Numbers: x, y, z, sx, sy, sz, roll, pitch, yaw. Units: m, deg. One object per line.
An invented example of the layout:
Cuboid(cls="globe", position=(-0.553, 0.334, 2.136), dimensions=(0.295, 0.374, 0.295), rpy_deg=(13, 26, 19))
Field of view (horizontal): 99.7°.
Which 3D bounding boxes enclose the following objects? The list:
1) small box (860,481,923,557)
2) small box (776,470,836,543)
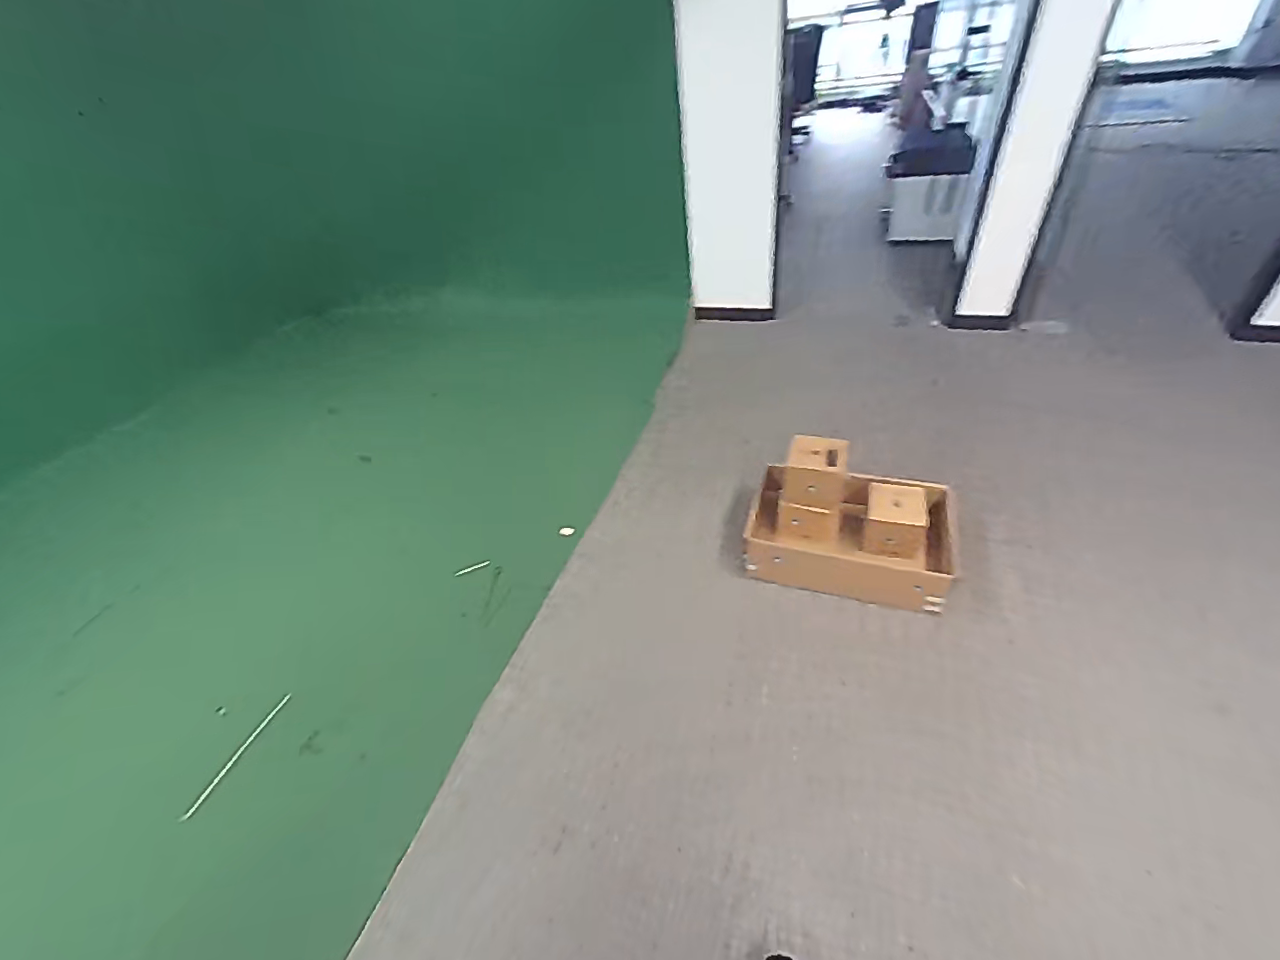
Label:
Cuboid(cls="small box", position=(0.830, 0.131, 1.788), dimensions=(0.168, 0.176, 0.179), rpy_deg=(8, 45, 19))
Cuboid(cls="small box", position=(0.575, 0.093, 1.879), dimensions=(0.168, 0.176, 0.179), rpy_deg=(12, 46, 21))
